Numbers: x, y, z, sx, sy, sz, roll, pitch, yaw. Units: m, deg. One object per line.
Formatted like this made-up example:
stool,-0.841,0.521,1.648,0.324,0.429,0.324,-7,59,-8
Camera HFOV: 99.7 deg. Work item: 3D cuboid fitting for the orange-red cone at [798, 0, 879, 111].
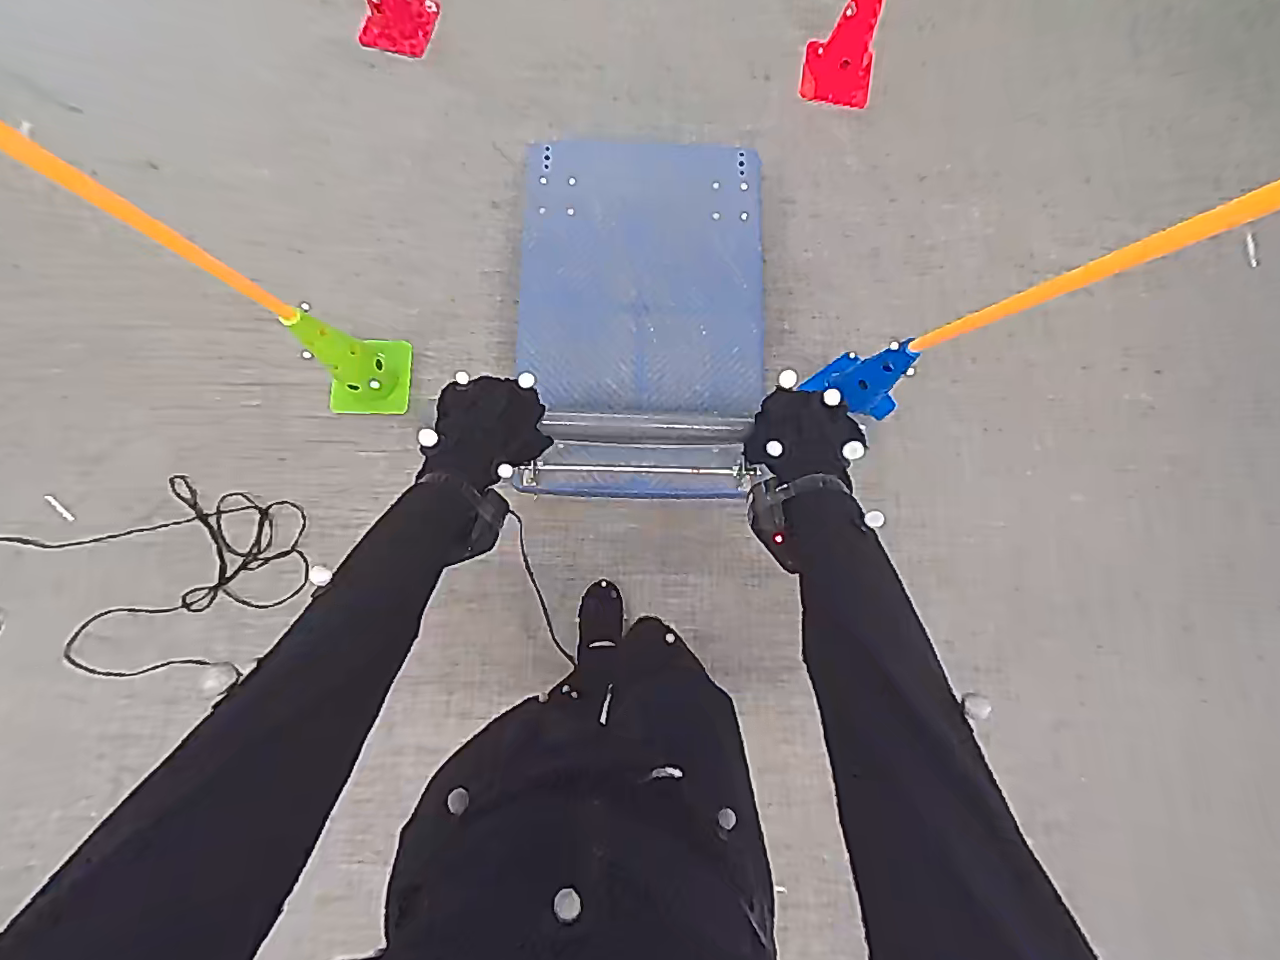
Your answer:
orange-red cone,0.573,-1.207,1.417,0.198,0.360,0.199,12,82,2
